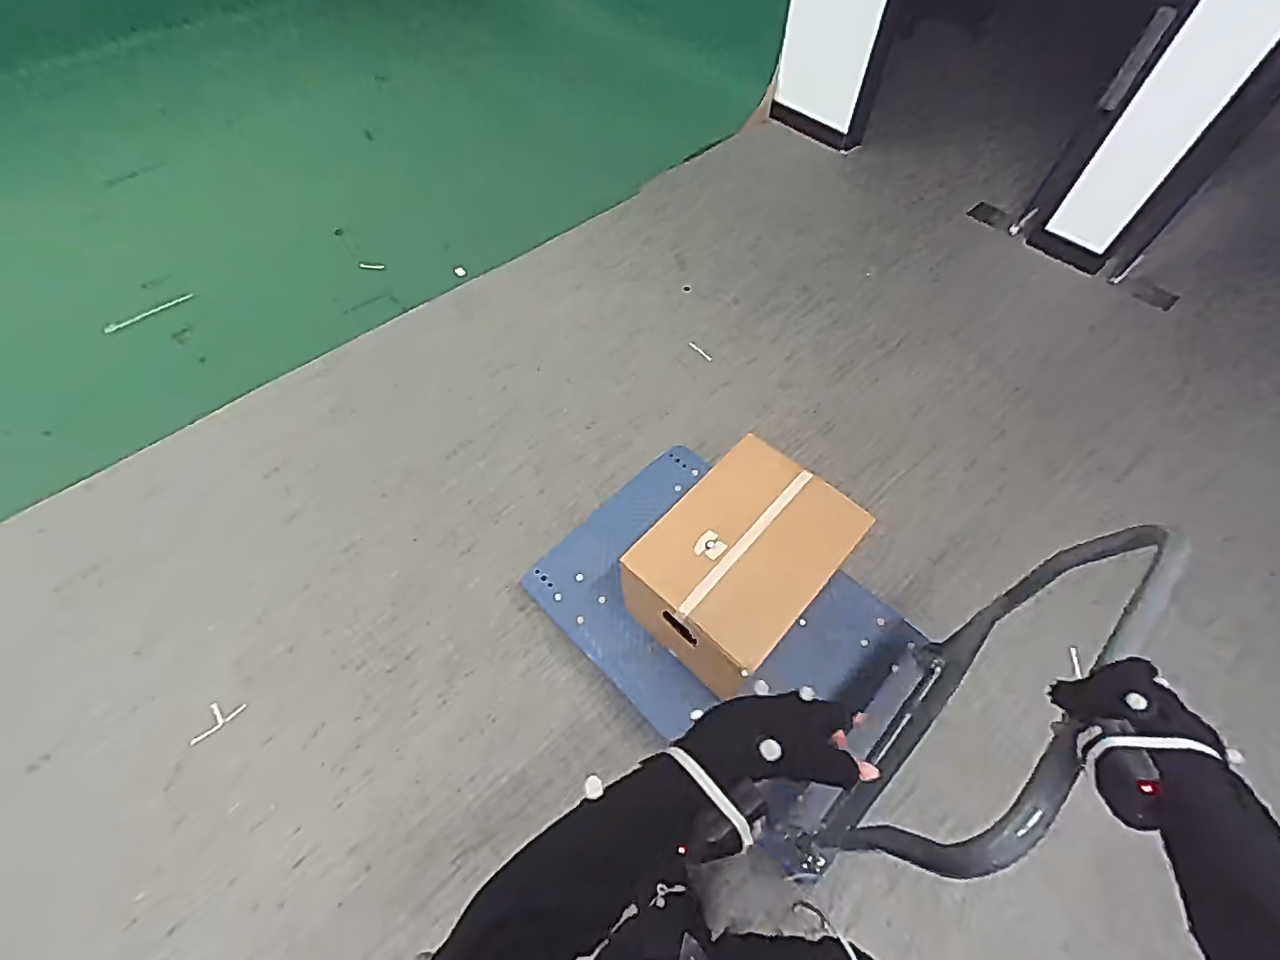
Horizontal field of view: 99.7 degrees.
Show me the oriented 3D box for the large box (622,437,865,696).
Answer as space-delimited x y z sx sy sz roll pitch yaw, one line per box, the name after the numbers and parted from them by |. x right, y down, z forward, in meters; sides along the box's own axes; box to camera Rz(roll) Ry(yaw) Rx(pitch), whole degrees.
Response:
0.209 0.193 1.180 0.320 0.320 0.408 39 68 22 | large box
